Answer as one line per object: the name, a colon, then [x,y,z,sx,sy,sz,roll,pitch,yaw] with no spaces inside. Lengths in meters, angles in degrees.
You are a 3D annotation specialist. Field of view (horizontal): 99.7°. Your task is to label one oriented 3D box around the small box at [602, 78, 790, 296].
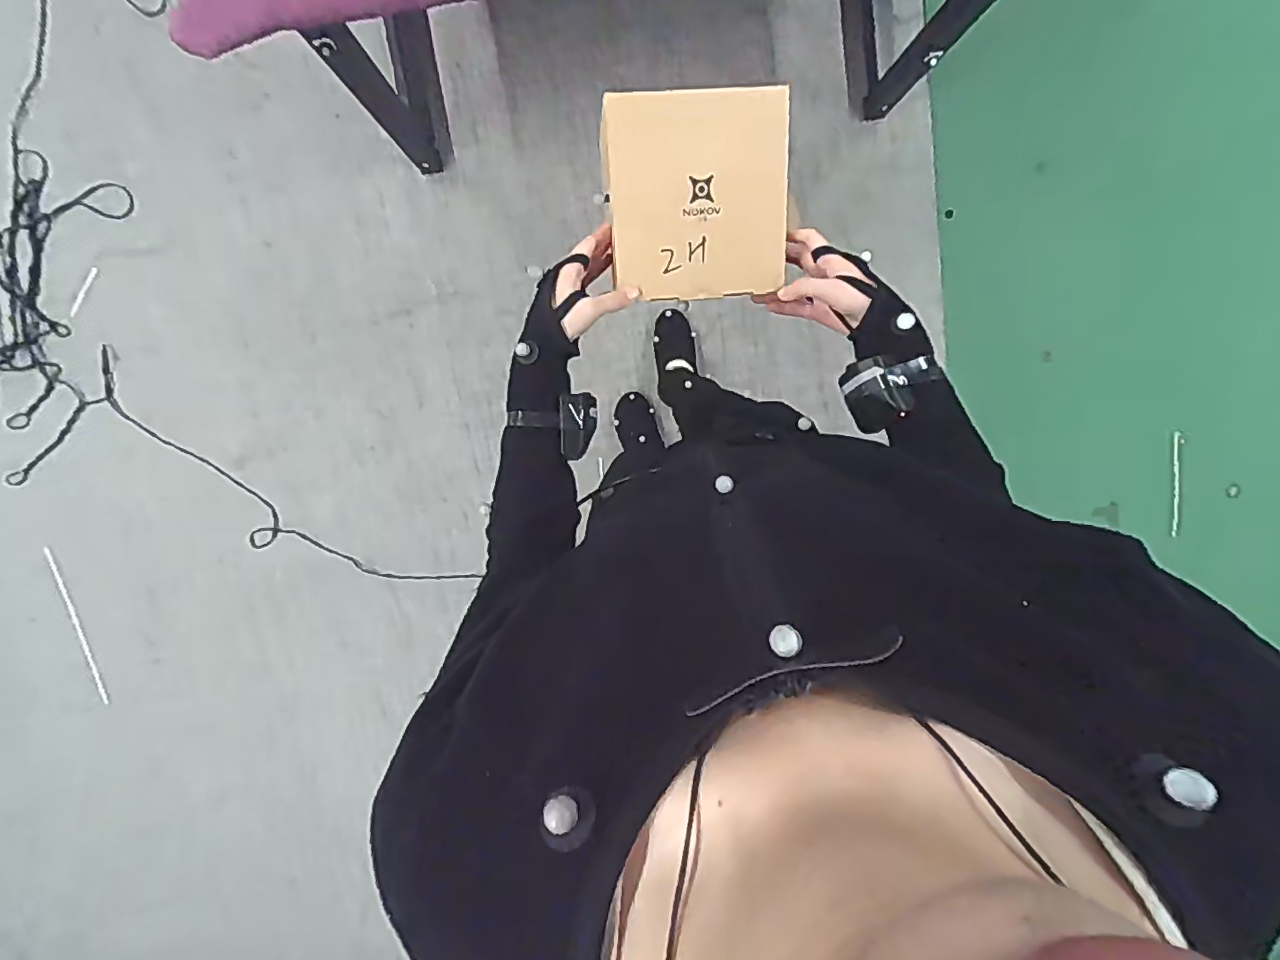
small box: [0.048,-0.290,0.570,0.168,0.176,0.179,-5,110,-3]
